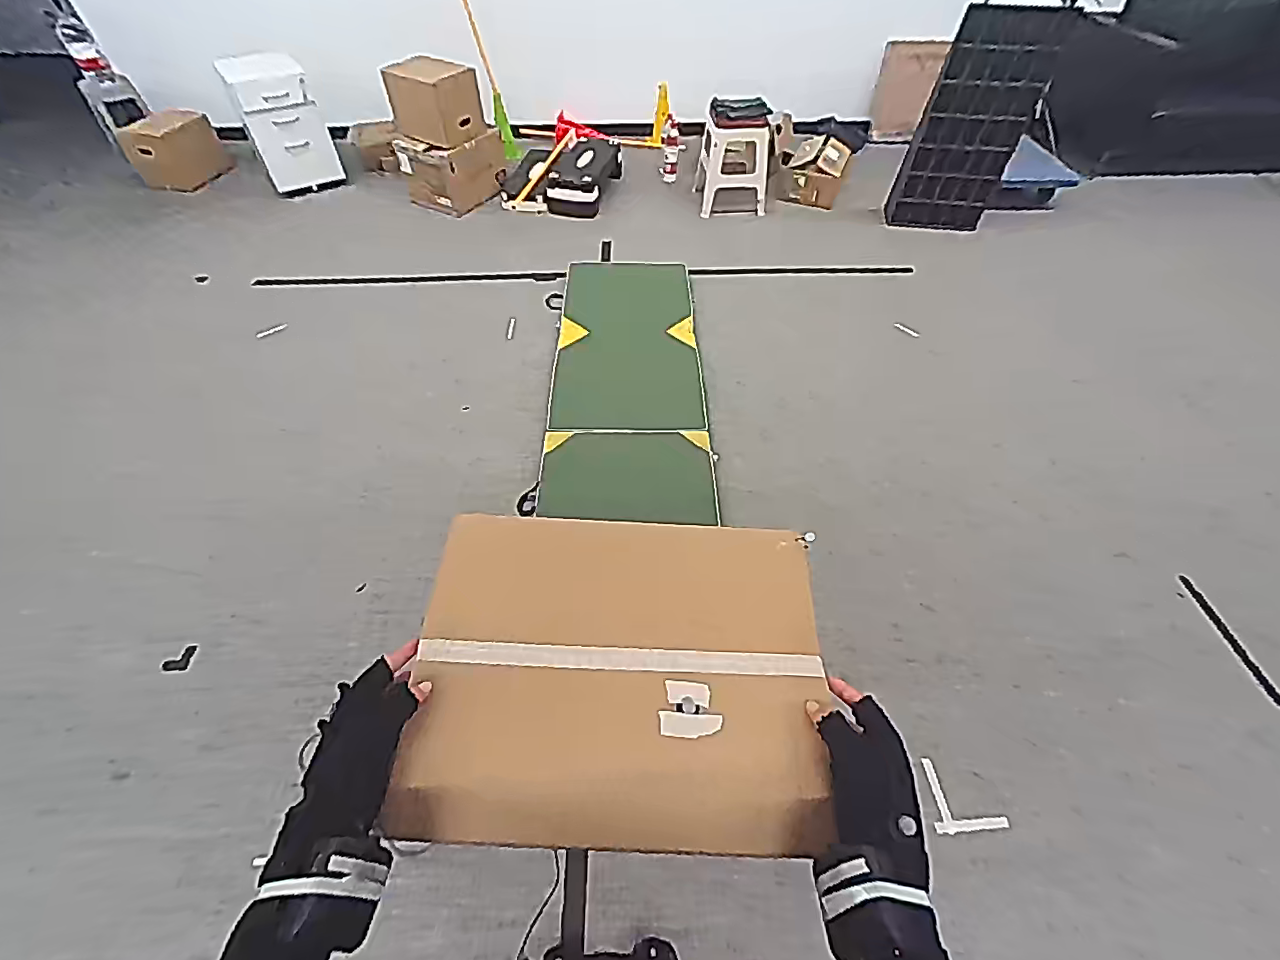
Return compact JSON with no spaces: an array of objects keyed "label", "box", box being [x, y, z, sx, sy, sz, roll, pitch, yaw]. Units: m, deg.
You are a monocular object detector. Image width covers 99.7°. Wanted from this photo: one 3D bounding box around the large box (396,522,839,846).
[{"label":"large box","box":[-0.023,0.270,0.681,0.408,0.320,0.320,4,56,-1]}]
